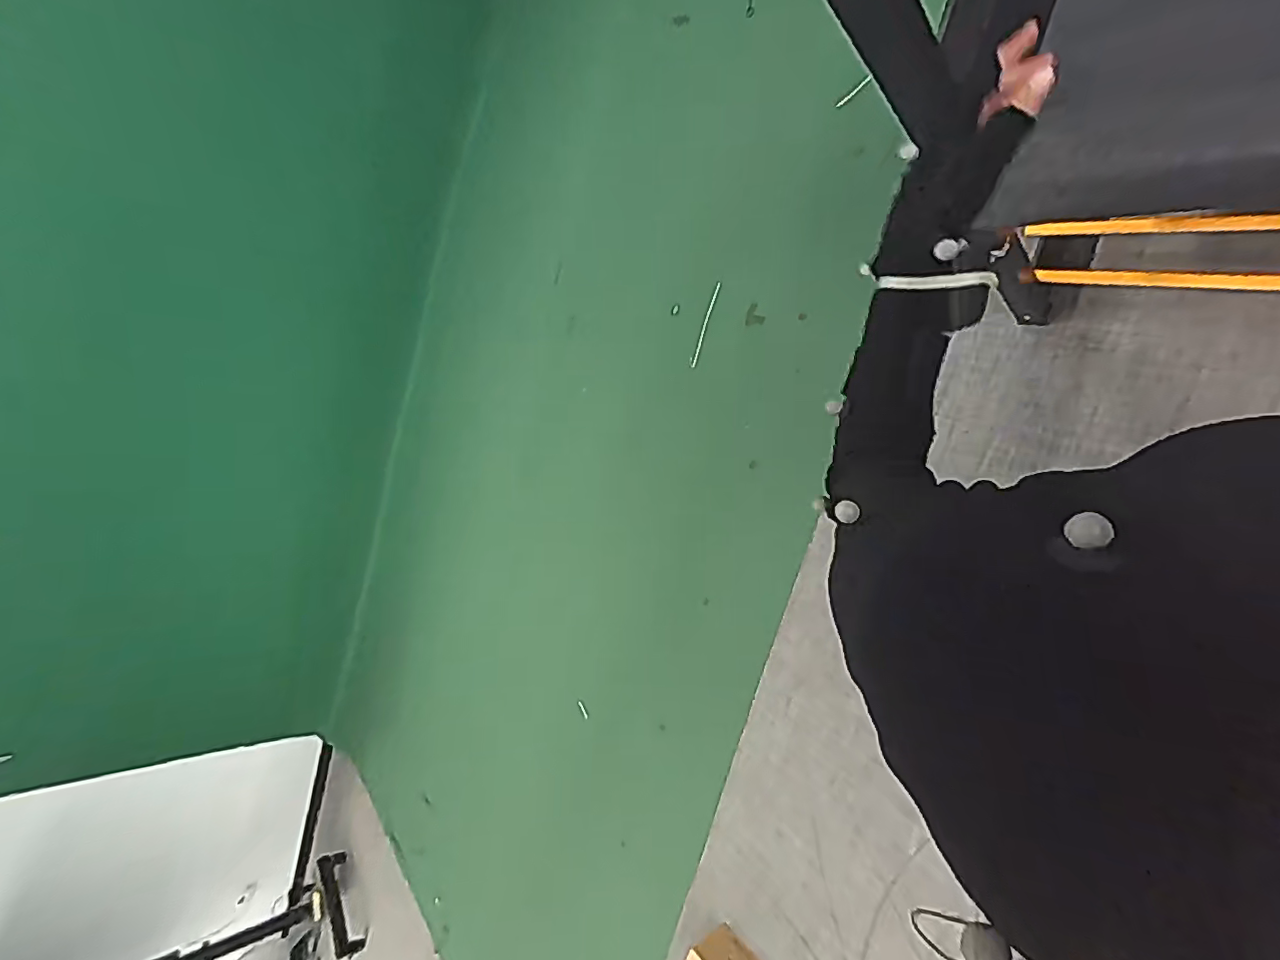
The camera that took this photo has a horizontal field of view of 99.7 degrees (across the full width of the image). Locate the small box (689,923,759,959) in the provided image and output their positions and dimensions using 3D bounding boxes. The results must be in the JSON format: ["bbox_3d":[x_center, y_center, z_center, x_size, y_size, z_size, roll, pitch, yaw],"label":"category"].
[{"bbox_3d":[0.244,1.468,1.589,0.168,0.176,0.179,25,101,44],"label":"small box"}]
